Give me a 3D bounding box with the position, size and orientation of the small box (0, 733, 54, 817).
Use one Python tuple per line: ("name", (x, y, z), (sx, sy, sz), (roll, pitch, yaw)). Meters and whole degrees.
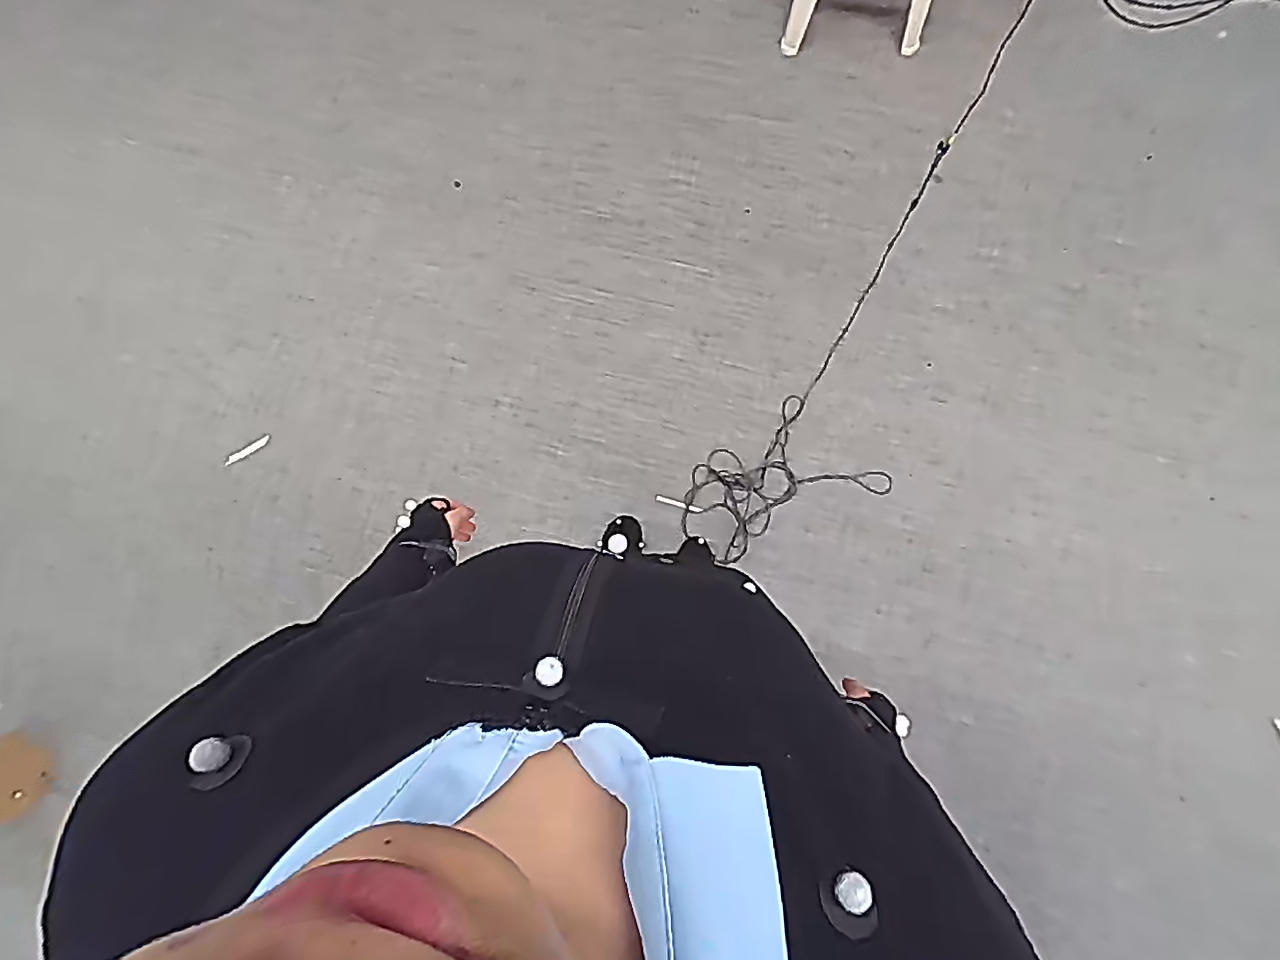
("small box", (-1.852, 0.849, 1.537), (0.179, 0.176, 0.168), (18, 87, 7))
